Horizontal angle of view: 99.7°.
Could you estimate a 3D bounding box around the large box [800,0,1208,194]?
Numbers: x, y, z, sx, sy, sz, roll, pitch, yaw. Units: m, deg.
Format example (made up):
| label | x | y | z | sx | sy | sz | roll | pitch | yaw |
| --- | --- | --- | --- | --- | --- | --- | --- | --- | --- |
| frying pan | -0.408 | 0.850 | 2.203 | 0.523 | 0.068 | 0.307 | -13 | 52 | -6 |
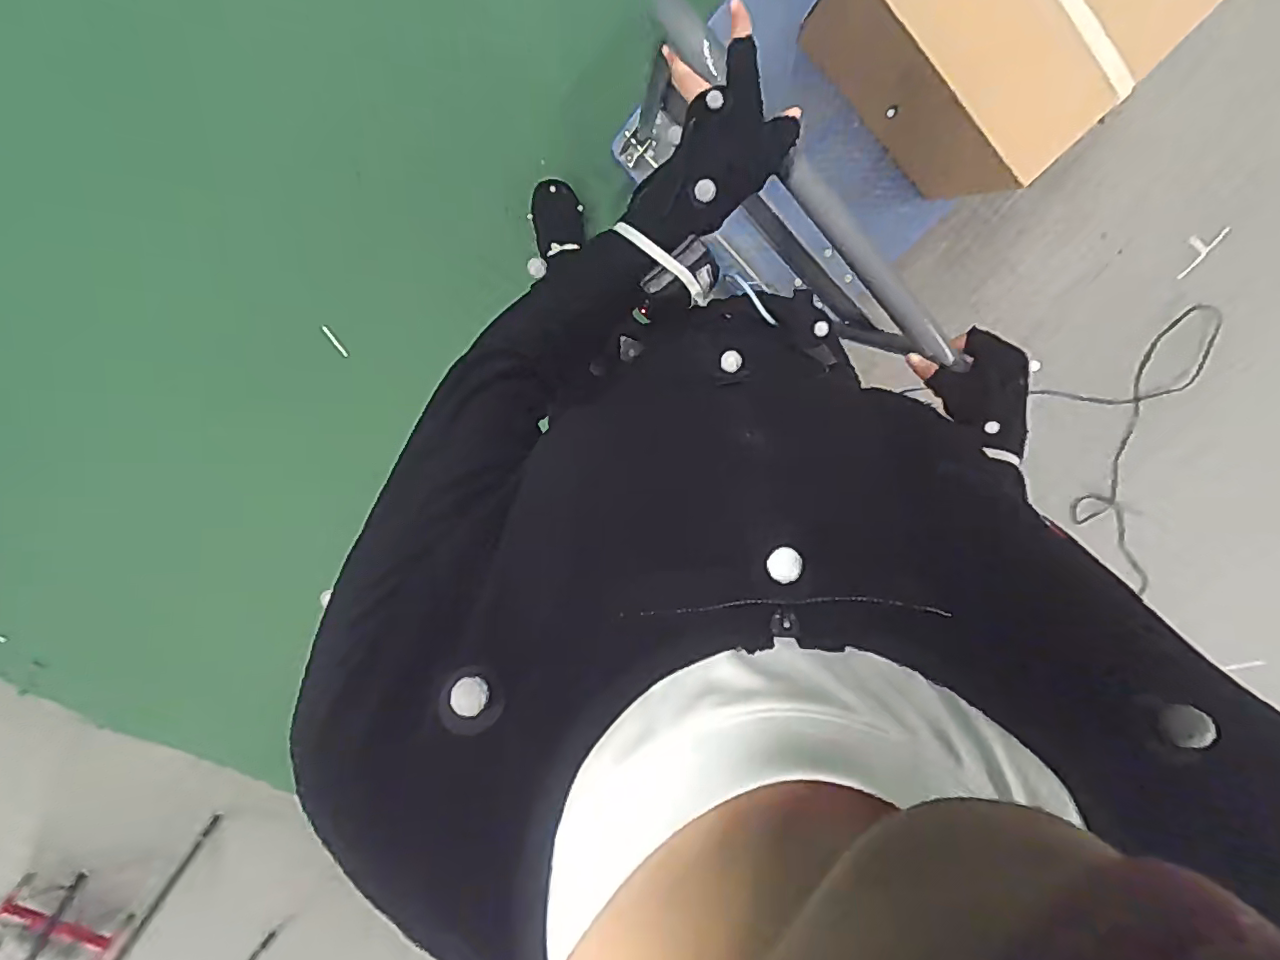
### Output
| label | x | y | z | sx | sy | sz | roll | pitch | yaw |
| --- | --- | --- | --- | --- | --- | --- | --- | --- | --- |
| large box | 0.529 | -0.731 | 0.851 | 0.408 | 0.320 | 0.320 | 40 | 108 | -14 |
